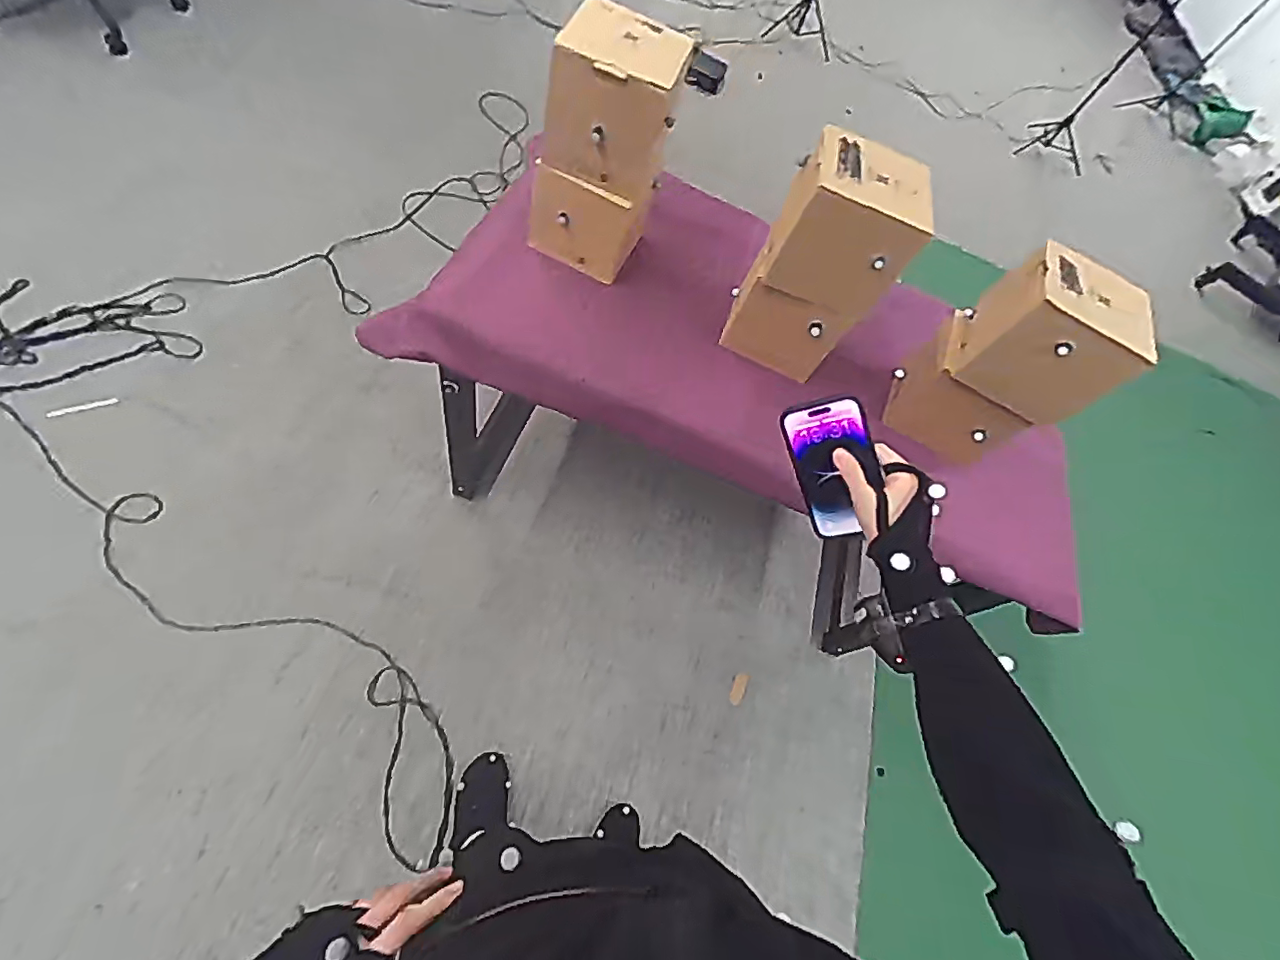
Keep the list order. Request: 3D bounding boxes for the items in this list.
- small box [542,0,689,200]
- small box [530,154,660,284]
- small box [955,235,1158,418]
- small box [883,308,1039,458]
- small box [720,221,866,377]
[{"bbox_3d":[-0.043,-0.567,0.822,0.168,0.176,0.179,20,60,-5],"label":"small box"},{"bbox_3d":[-0.084,-0.484,0.958,0.168,0.176,0.179,24,59,-2],"label":"small box"},{"bbox_3d":[0.614,-0.223,0.817,0.179,0.176,0.168,29,58,1],"label":"small box"},{"bbox_3d":[0.573,-0.163,0.964,0.179,0.176,0.168,29,58,2],"label":"small box"},{"bbox_3d":[0.267,-0.311,0.959,0.179,0.176,0.168,24,59,-2],"label":"small box"}]
